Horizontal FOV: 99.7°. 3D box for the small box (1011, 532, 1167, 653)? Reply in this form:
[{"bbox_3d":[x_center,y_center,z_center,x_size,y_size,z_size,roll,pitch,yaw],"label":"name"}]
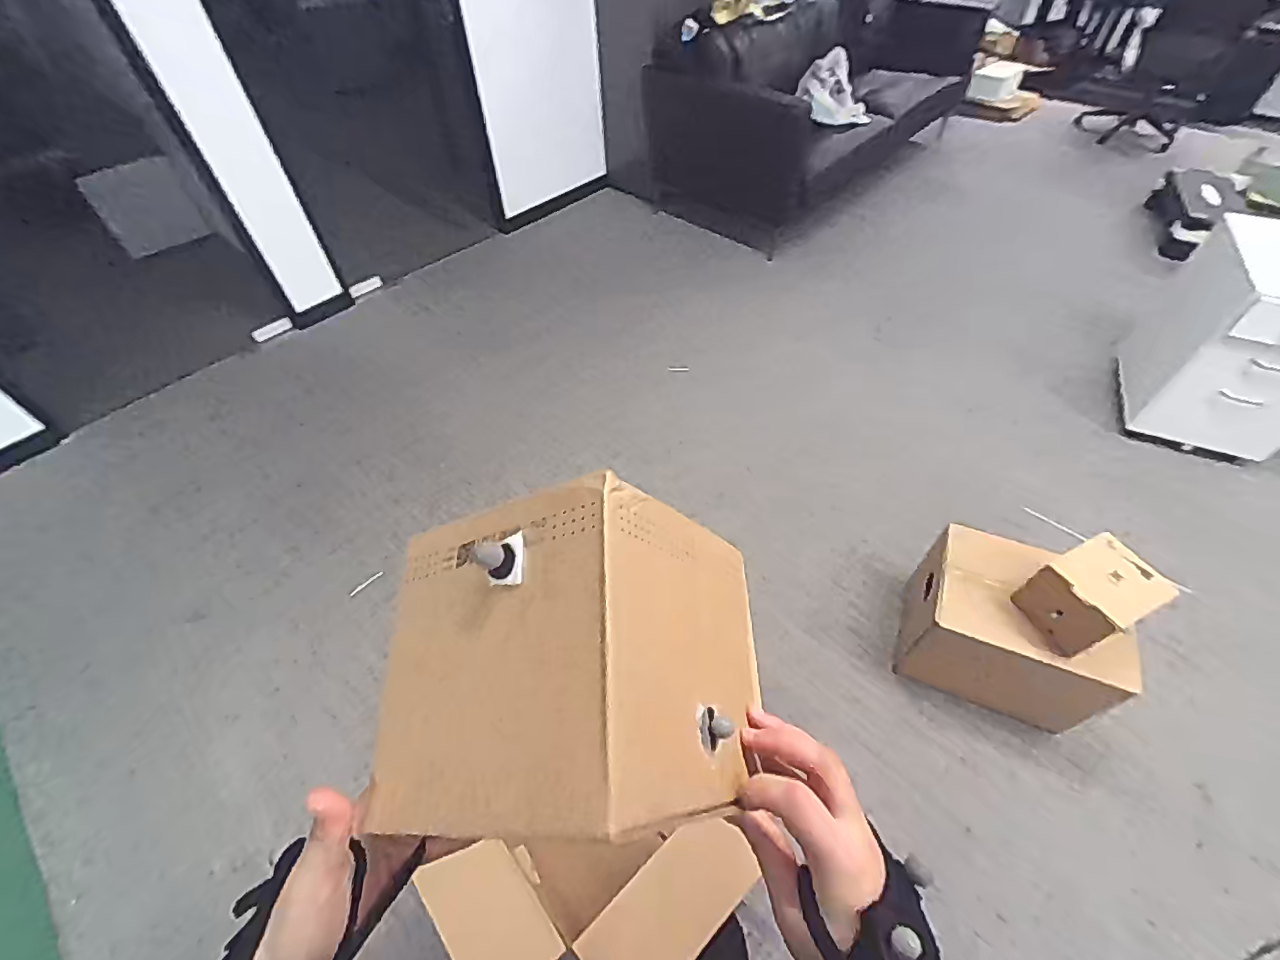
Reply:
[{"bbox_3d":[0.956,0.249,1.177,0.179,0.176,0.168,-22,54,-13],"label":"small box"}]

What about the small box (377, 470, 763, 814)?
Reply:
[{"bbox_3d":[-0.035,0.113,0.359,0.168,0.179,0.176,-20,58,29],"label":"small box"}]
